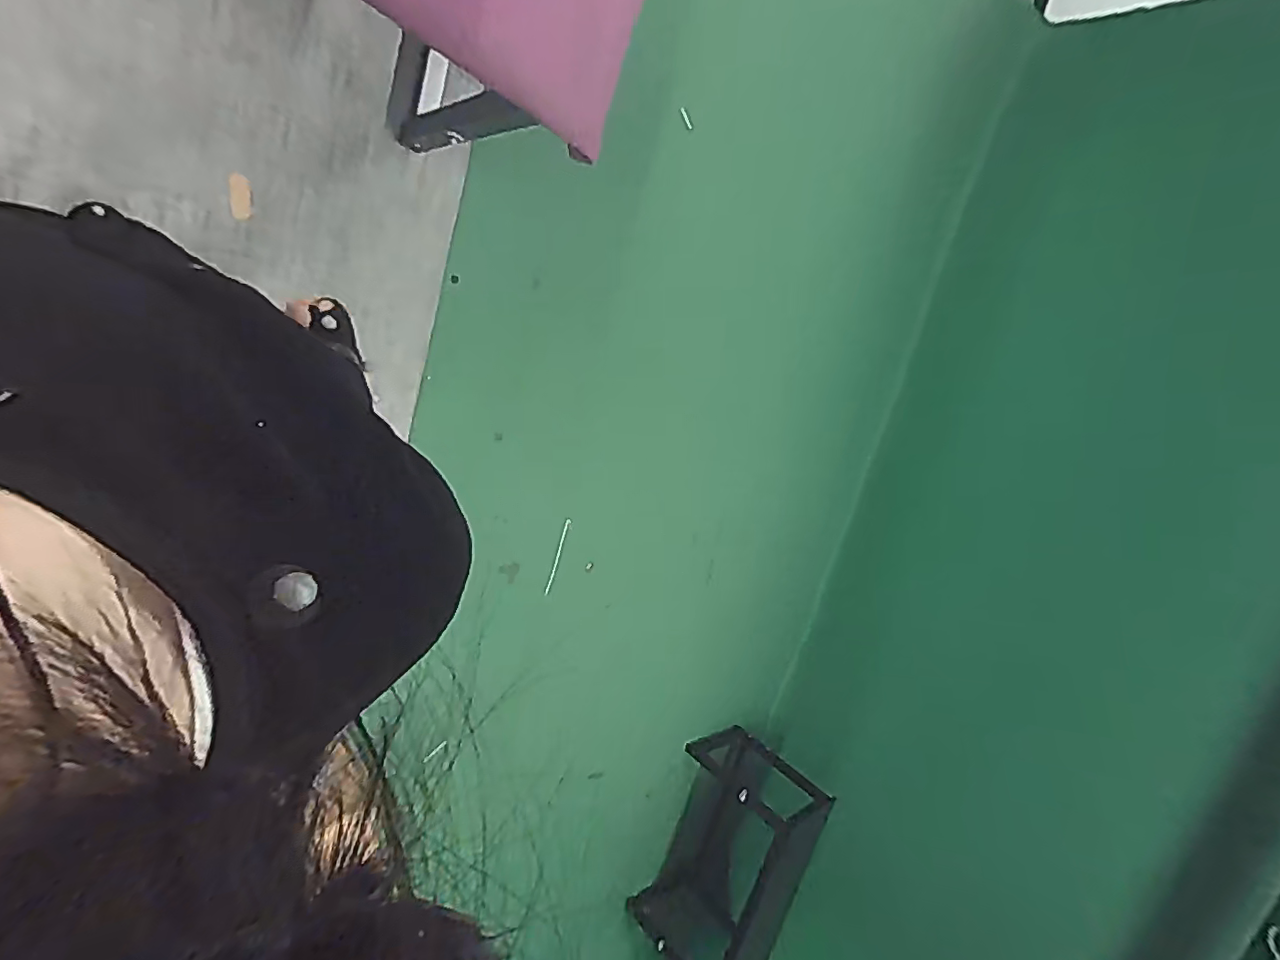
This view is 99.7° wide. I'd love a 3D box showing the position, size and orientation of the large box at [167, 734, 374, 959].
[{"bbox_3d":[-1.021,1.011,1.515,0.408,0.320,0.320,-13,119,-43],"label":"large box"}]
